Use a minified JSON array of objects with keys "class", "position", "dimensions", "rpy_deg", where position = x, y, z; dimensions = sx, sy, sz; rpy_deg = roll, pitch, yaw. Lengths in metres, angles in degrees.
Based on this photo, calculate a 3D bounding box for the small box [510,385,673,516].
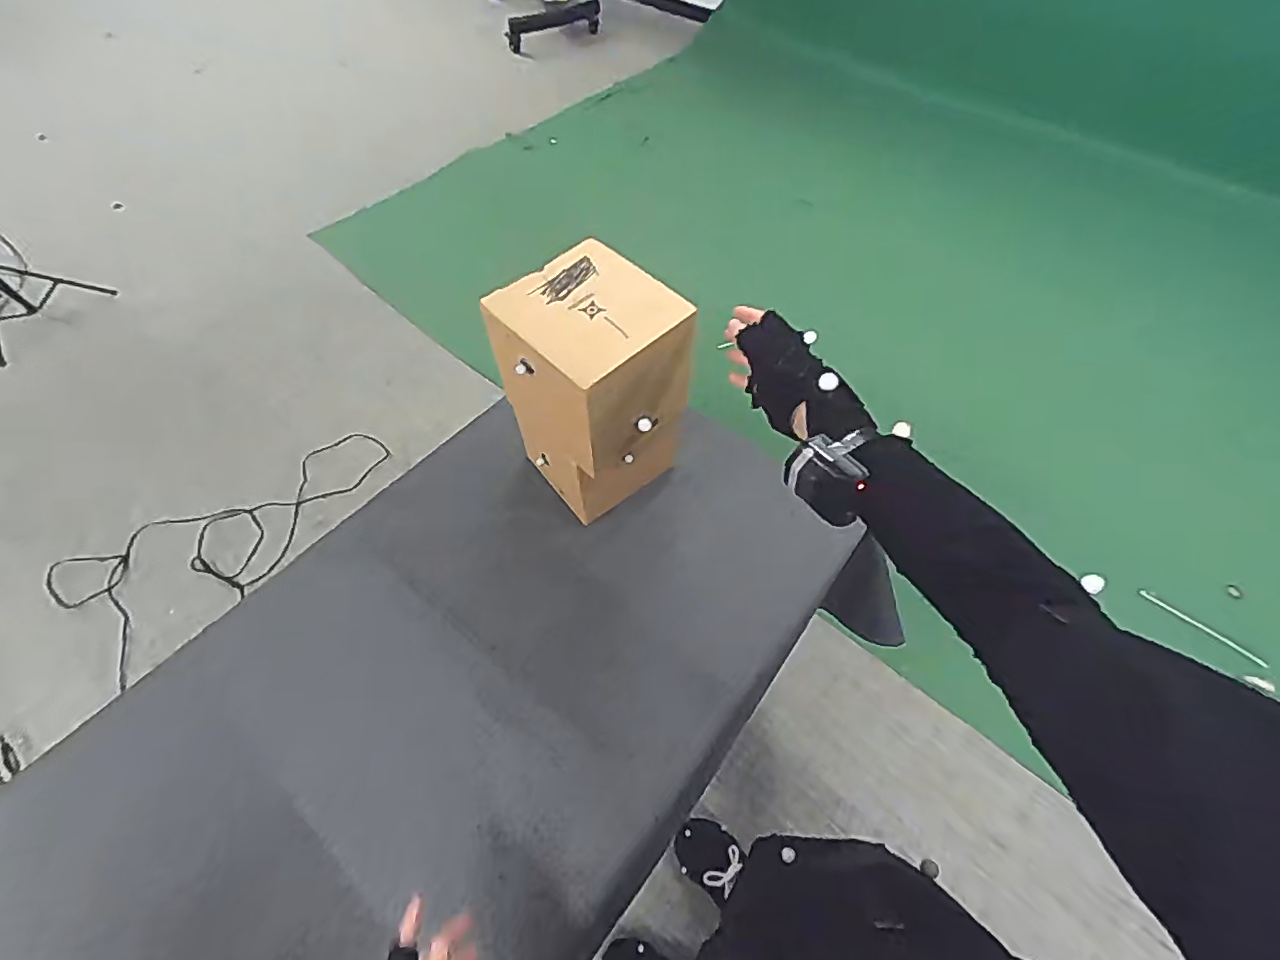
[{"class":"small box","position":[-0.061,-0.076,0.795],"dimensions":[0.179,0.176,0.168],"rpy_deg":[-33,65,-19]}]

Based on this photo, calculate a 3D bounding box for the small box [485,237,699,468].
[{"class":"small box","position":[-0.054,-0.146,0.646],"dimensions":[0.168,0.176,0.179],"rpy_deg":[-39,67,-21]}]
